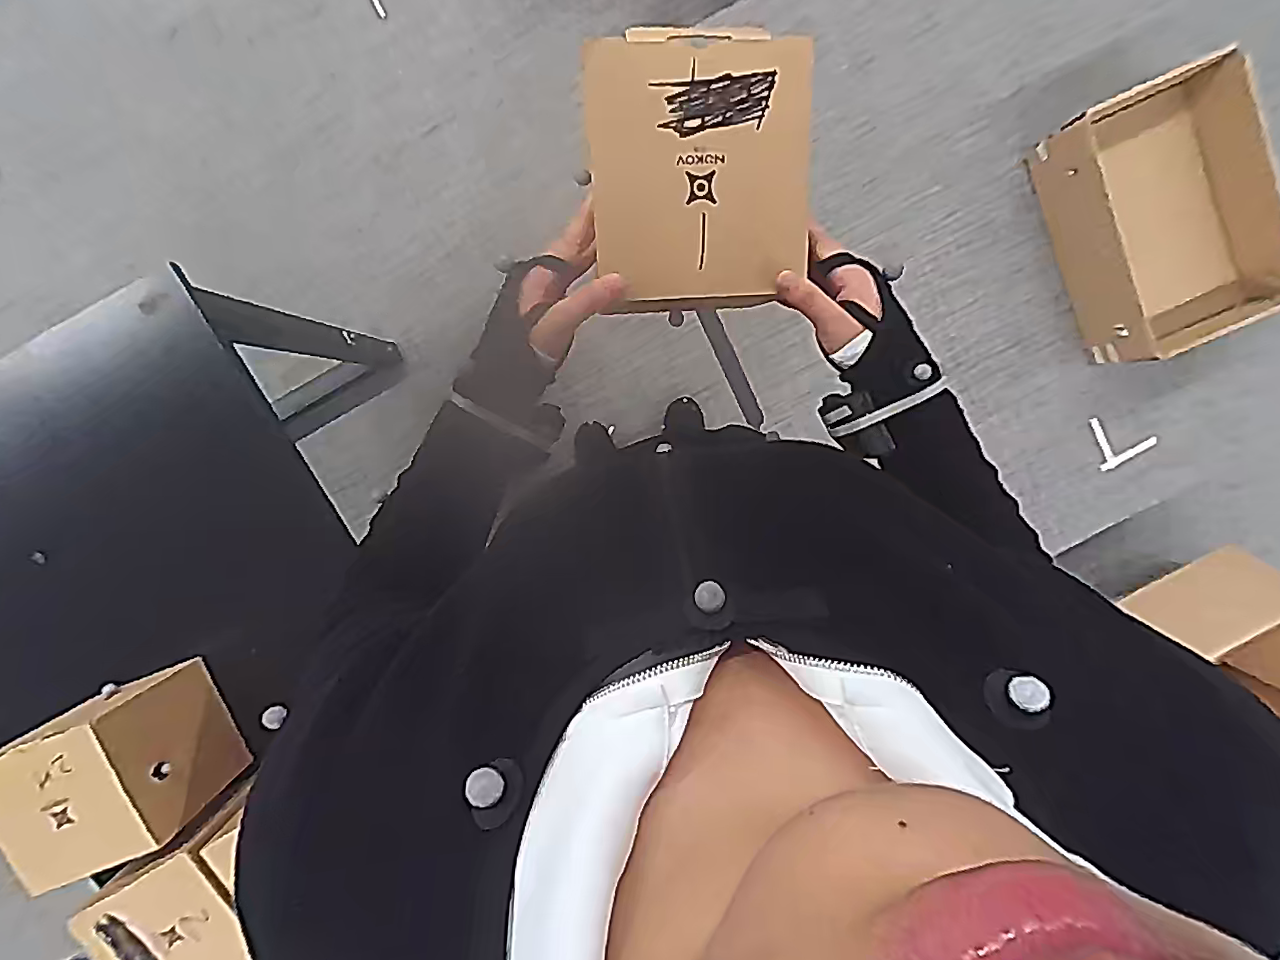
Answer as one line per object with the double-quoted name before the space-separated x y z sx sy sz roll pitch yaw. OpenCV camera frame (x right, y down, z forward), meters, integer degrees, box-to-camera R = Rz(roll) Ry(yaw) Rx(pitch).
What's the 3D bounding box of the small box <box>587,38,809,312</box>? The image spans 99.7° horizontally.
"small box" 0.040 -0.251 0.486 0.168 0.176 0.179 -4 104 -3
